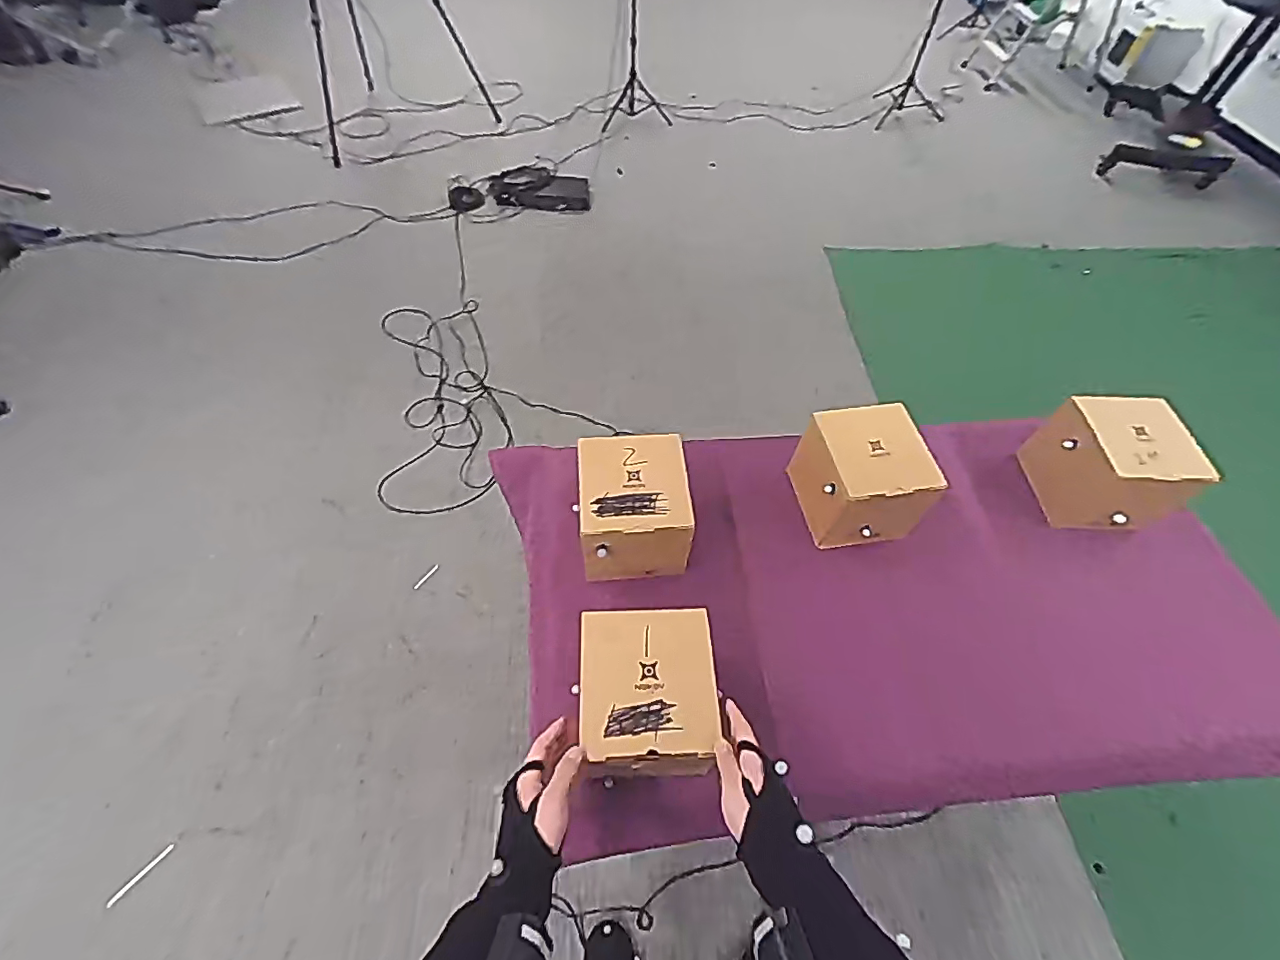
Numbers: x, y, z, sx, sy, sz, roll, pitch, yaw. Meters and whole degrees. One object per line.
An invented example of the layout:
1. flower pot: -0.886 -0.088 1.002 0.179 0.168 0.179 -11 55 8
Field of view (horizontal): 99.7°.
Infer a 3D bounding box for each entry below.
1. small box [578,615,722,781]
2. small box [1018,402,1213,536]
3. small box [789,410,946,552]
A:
1. small box: 0.007 0.293 0.717 0.168 0.176 0.179 -1 54 -4
2. small box: 0.828 -0.018 0.968 0.168 0.176 0.179 1 56 -1
3. small box: 0.377 0.004 0.936 0.168 0.176 0.179 -7 57 -8
